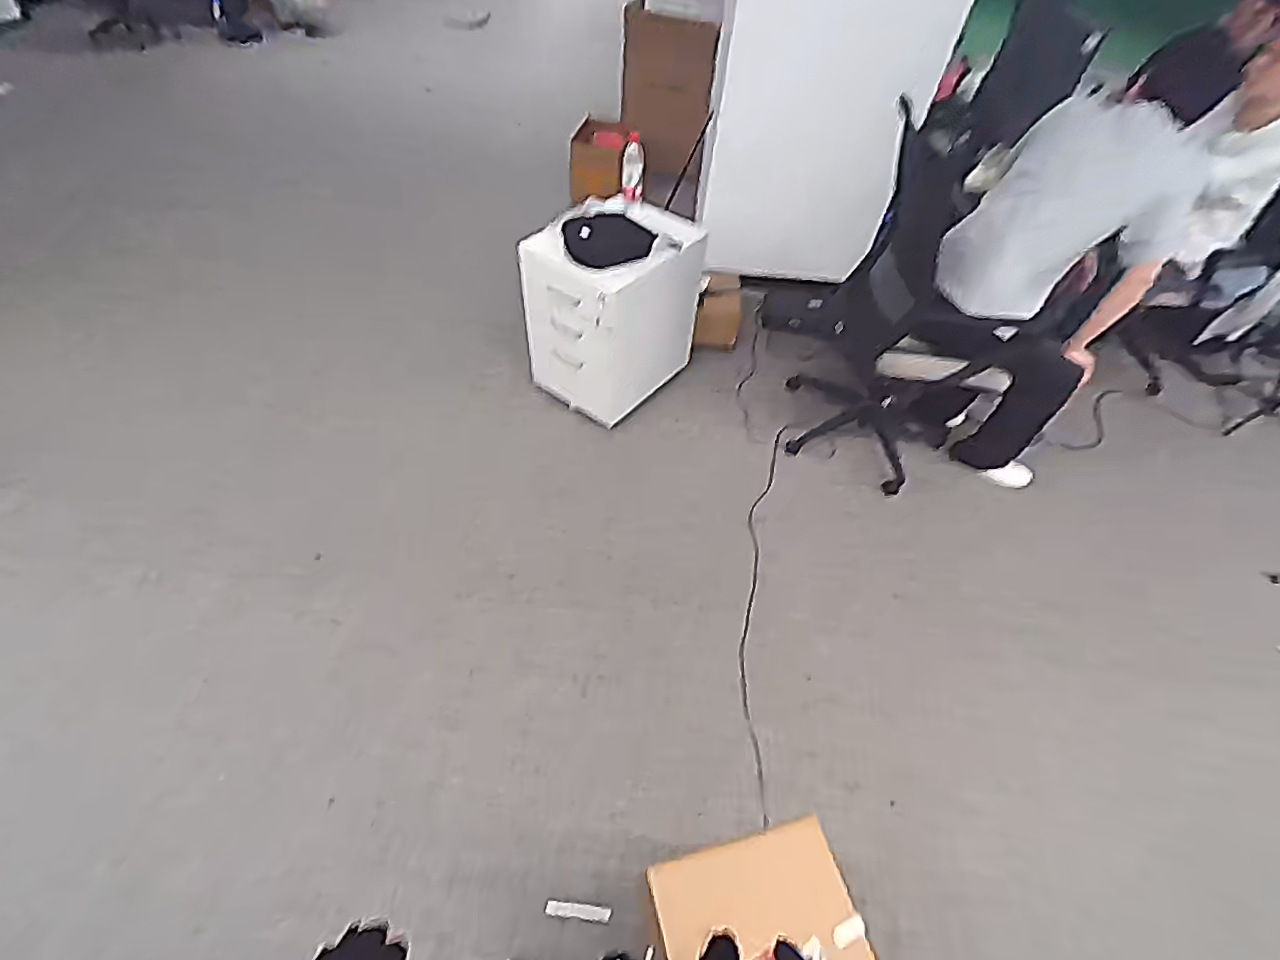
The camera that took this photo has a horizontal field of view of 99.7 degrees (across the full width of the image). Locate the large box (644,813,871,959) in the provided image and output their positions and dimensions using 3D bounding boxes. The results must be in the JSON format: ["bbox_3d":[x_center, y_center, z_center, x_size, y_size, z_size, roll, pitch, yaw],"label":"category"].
[{"bbox_3d":[0.195,0.855,0.981,0.320,0.408,0.320,-11,50,-10],"label":"large box"}]
